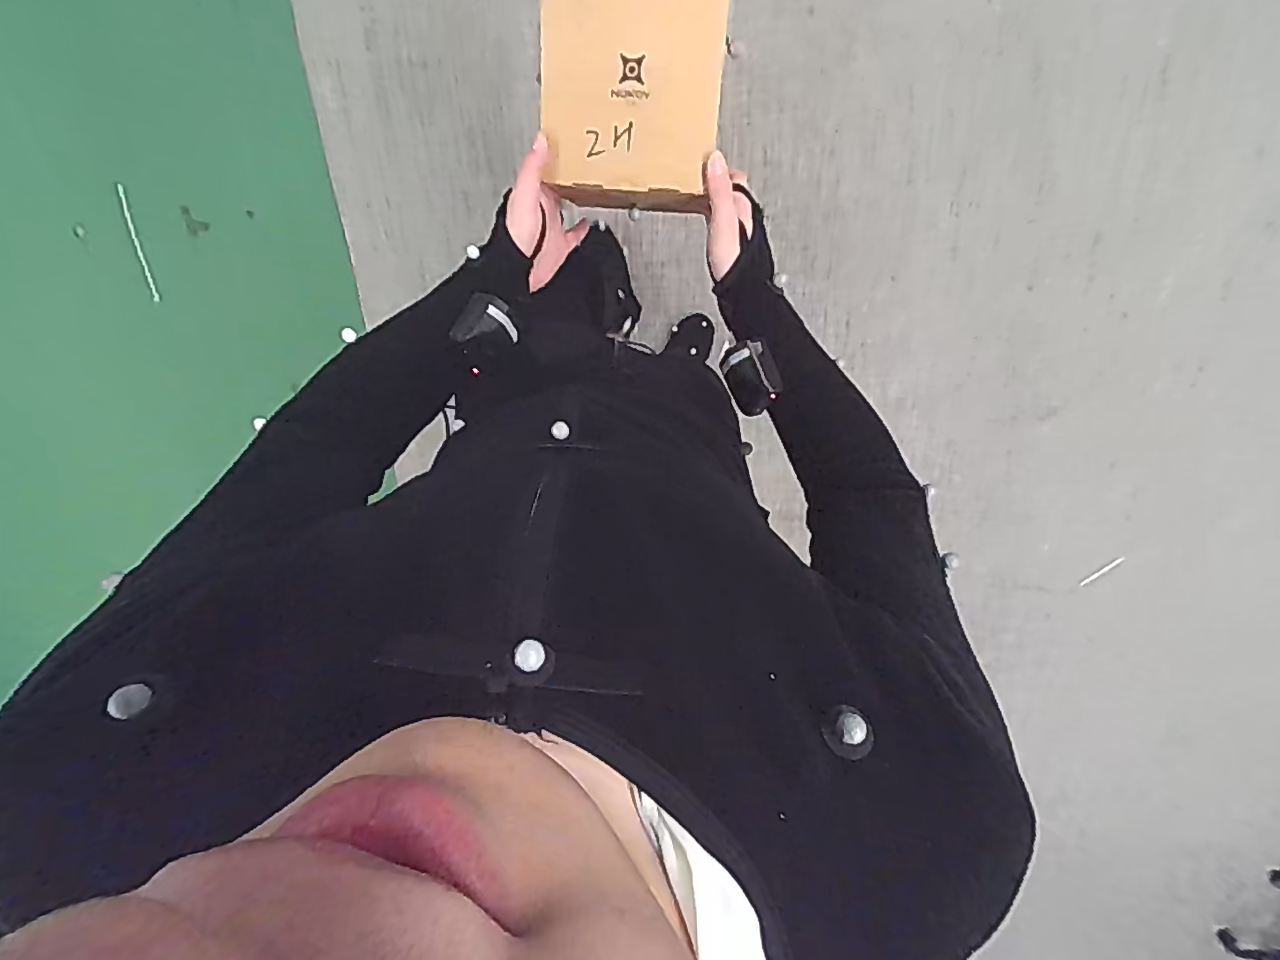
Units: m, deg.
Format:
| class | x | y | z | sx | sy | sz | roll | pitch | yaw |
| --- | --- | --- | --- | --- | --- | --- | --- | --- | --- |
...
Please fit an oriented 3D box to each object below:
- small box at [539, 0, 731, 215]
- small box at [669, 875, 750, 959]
| class | x | y | z | sx | sy | sz | roll | pitch | yaw |
| --- | --- | --- | --- | --- | --- | --- | --- | --- | --- |
| small box | -0.002 | -0.388 | 0.561 | 0.168 | 0.176 | 0.179 | 6 | 109 | 4 |
| small box | 0.149 | 1.018 | 1.193 | 0.168 | 0.176 | 0.179 | 3 | 111 | 7 |
